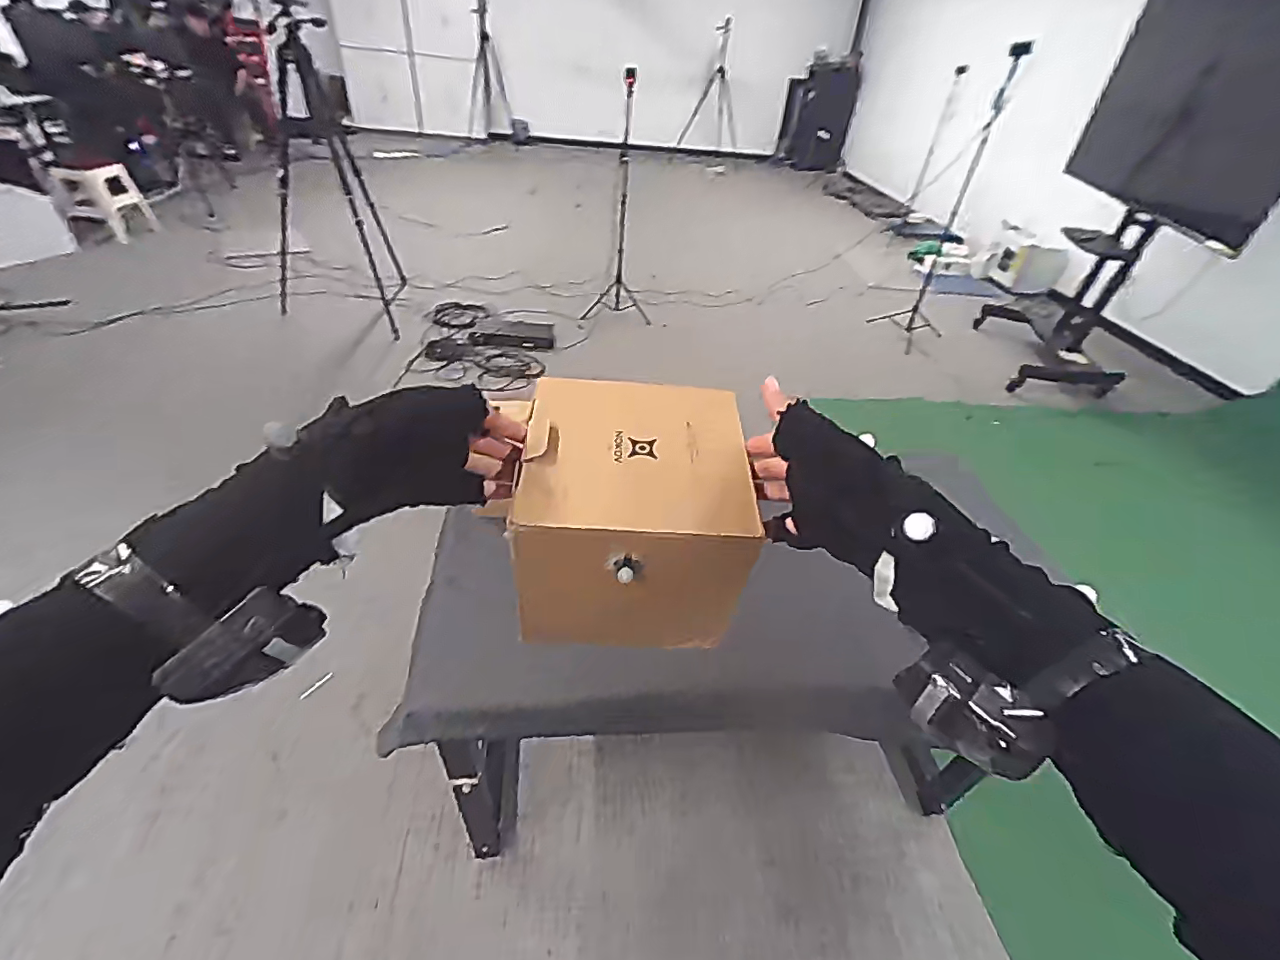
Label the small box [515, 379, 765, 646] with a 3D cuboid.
[{"bbox_3d":[-0.007,0.033,0.479,0.179,0.176,0.168,5,47,-6],"label":"small box"}]

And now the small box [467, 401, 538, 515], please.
[{"bbox_3d":[-0.240,-0.040,1.085,0.179,0.176,0.168,1,41,-9],"label":"small box"}]
